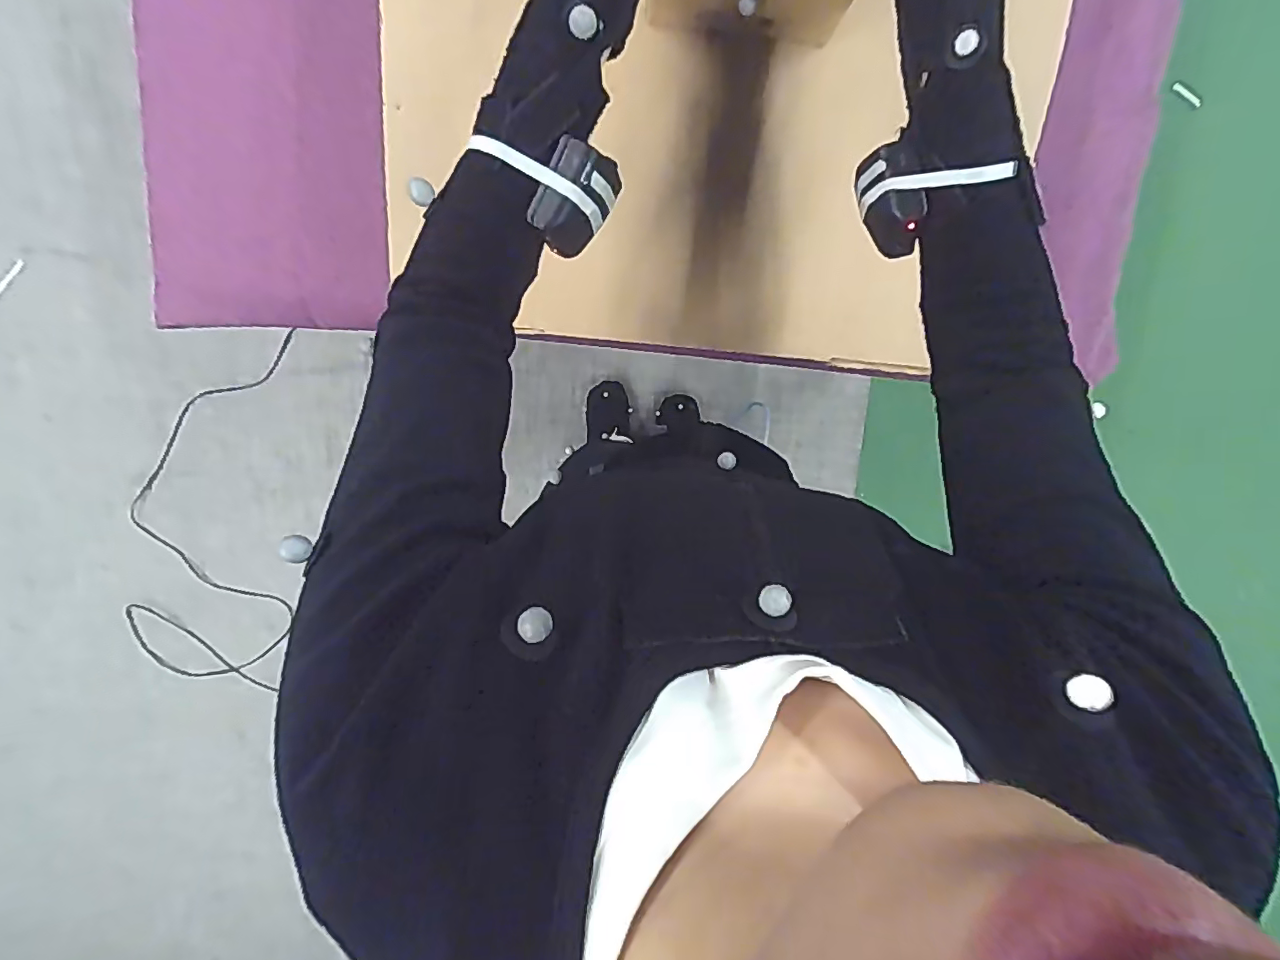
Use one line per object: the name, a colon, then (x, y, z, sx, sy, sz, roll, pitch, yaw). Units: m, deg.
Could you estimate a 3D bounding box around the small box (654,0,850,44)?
small box: (0.098, -0.465, 0.382, 0.168, 0.176, 0.179, 6, 100, -3)
